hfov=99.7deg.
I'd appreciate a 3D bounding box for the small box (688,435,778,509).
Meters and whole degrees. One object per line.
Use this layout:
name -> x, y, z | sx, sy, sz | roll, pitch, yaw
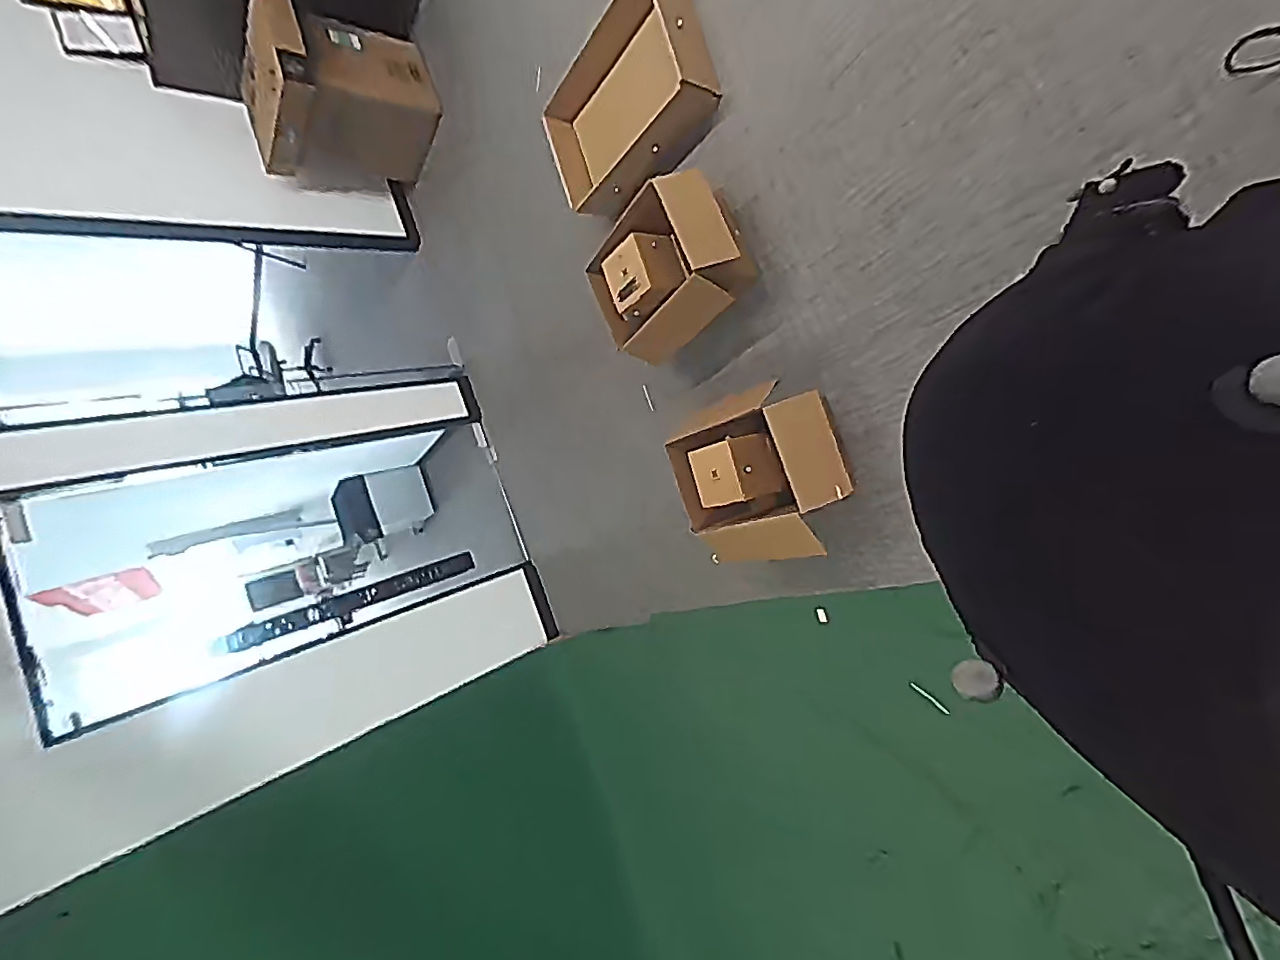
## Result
small box -> 0.274, -0.026, 1.582 | 0.168, 0.176, 0.179 | -18, 88, 50
